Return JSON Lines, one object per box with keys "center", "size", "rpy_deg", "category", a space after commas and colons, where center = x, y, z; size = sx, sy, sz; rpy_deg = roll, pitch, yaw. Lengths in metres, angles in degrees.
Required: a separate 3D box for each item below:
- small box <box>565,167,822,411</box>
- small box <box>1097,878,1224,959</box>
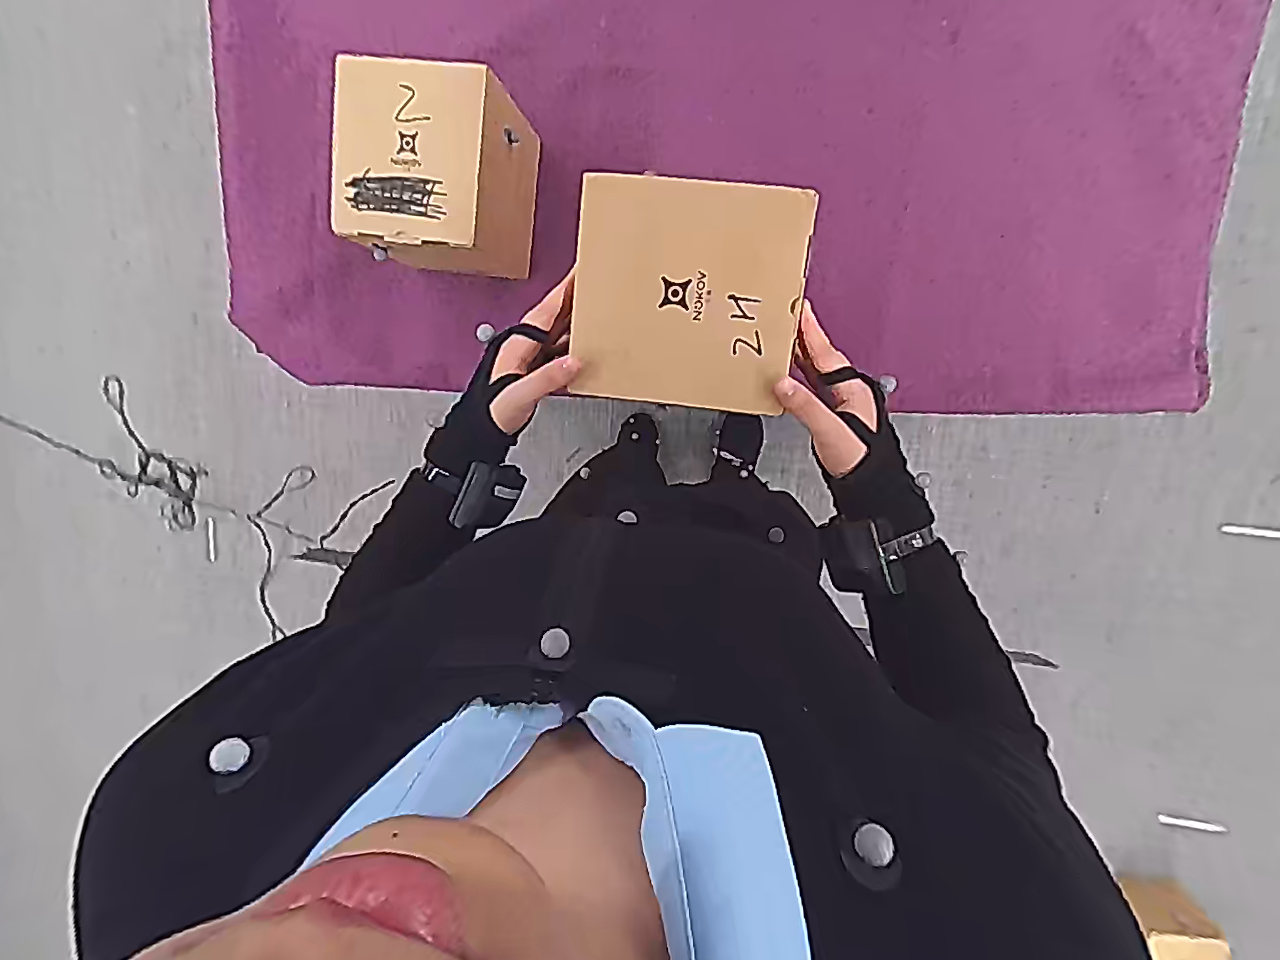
{"center": [0.043, -0.154, 0.485], "size": [0.179, 0.176, 0.168], "rpy_deg": [7, 100, 4], "category": "small box"}
{"center": [1.351, 1.189, 1.417], "size": [0.179, 0.176, 0.168], "rpy_deg": [-1, 99, 8], "category": "small box"}
